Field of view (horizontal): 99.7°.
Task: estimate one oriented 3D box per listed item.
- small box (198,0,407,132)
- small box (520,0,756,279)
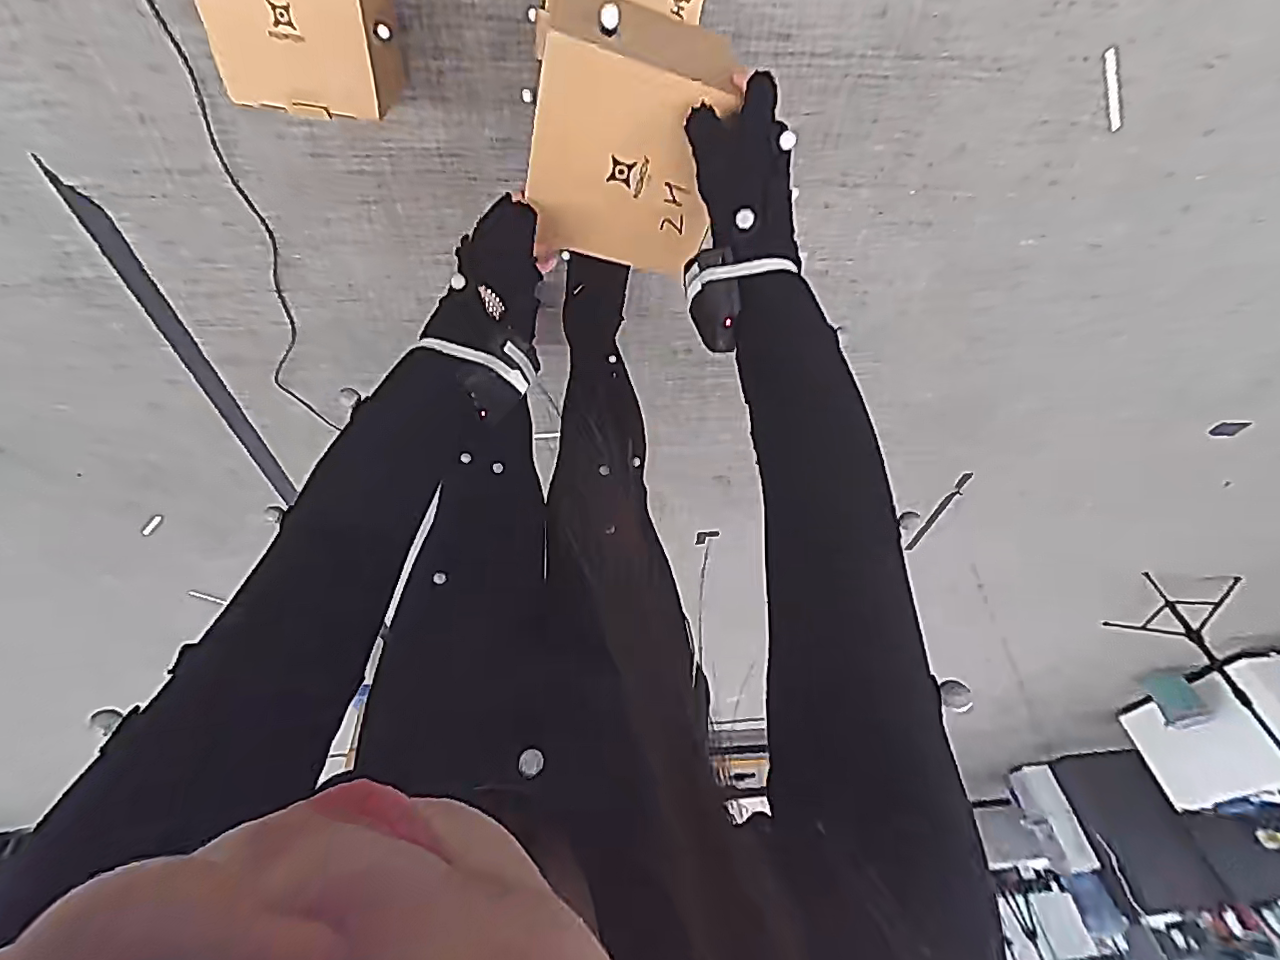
[{"bbox_3d":[-0.385,-0.544,0.633,0.168,0.176,0.179,1,139,-10],"label":"small box"},{"bbox_3d":[-0.012,-0.333,0.529,0.179,0.176,0.168,8,142,-15],"label":"small box"}]
